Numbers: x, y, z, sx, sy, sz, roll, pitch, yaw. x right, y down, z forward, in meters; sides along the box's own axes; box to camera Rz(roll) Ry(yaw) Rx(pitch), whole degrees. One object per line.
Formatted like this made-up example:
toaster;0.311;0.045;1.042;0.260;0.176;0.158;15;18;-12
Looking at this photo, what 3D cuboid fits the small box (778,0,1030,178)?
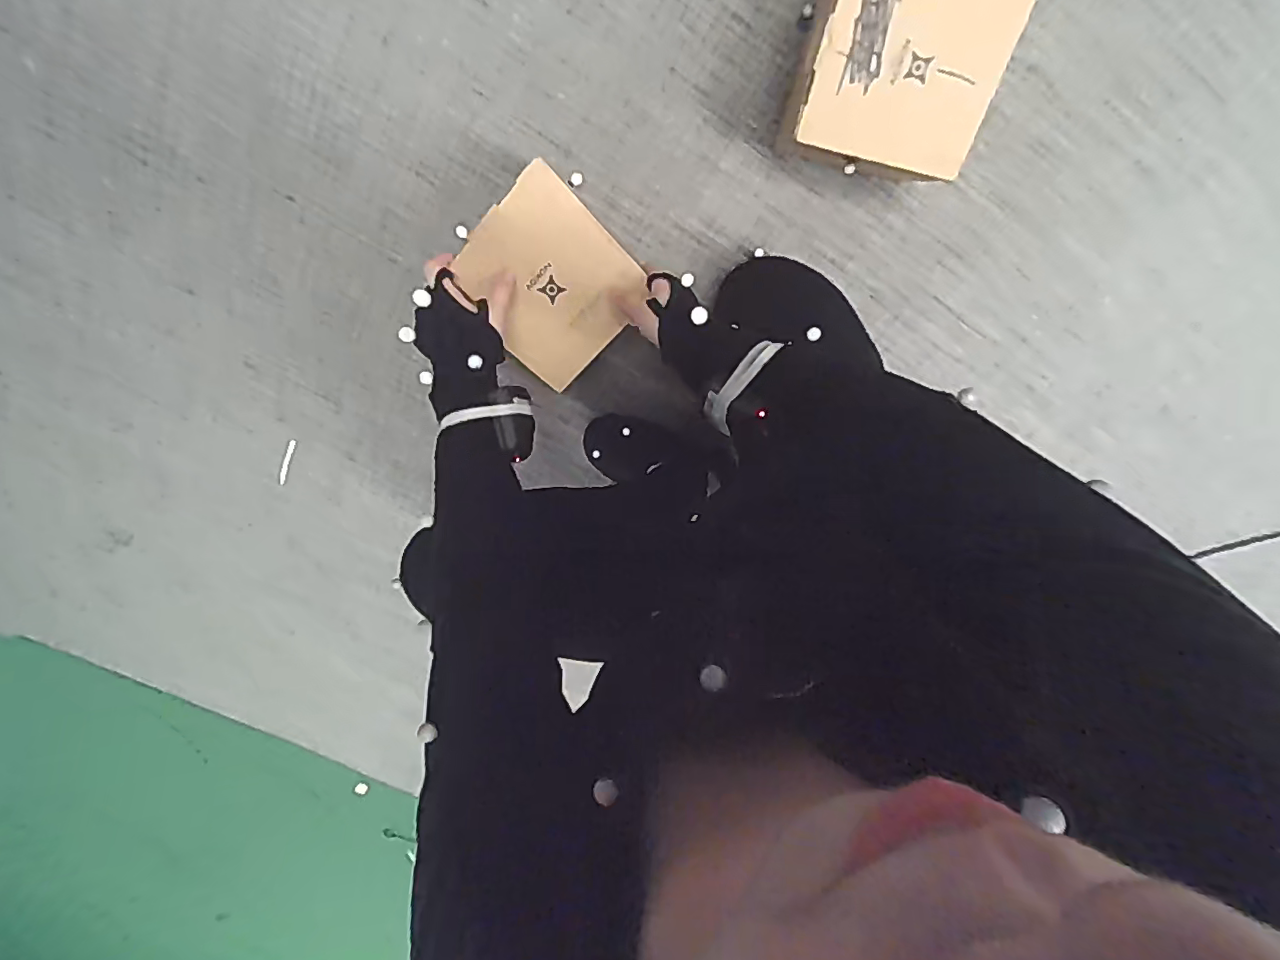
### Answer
small box;0.263;-0.437;0.588;0.179;0.176;0.168;13;119;-1
